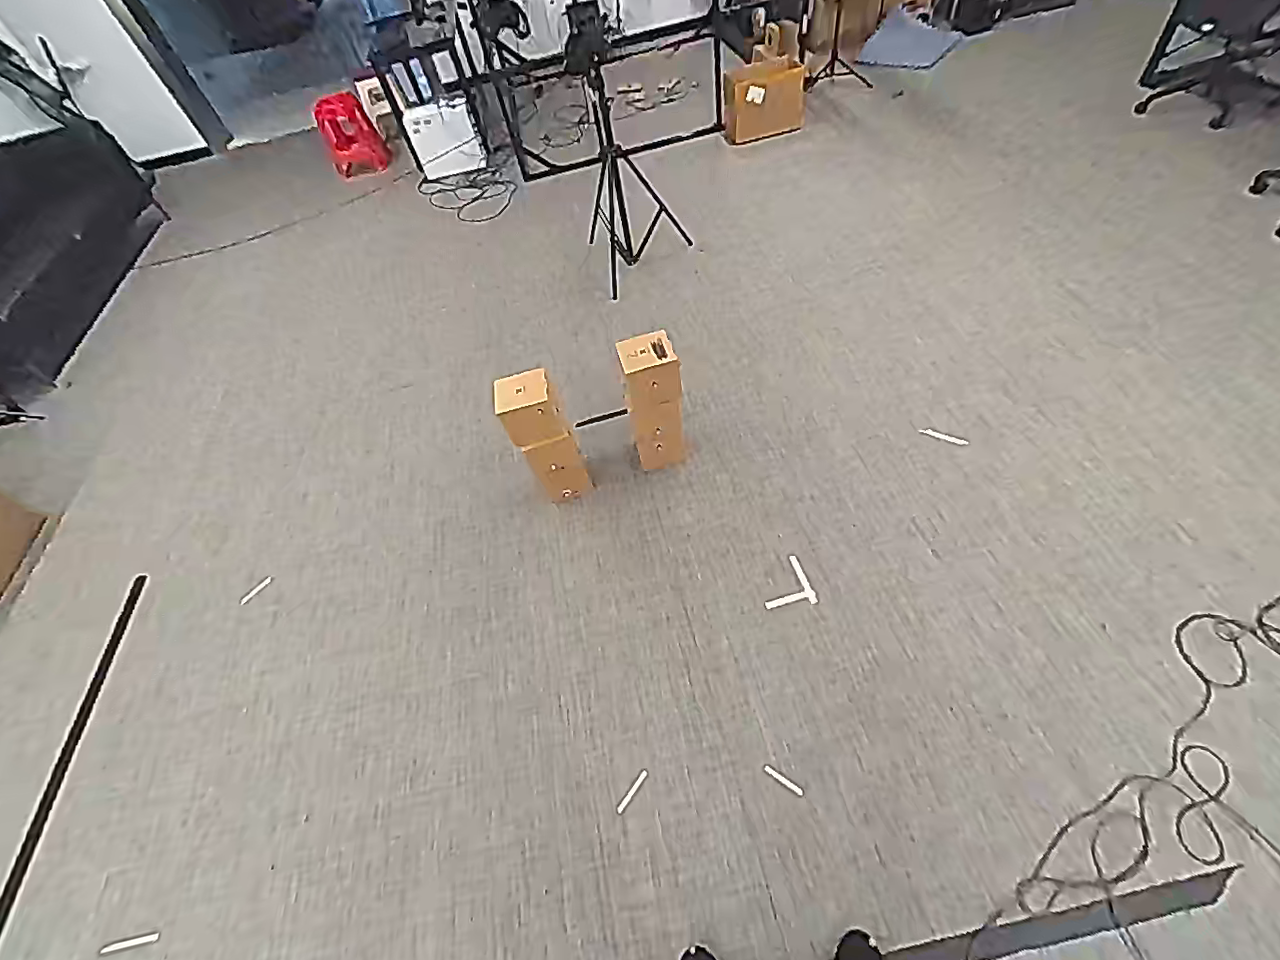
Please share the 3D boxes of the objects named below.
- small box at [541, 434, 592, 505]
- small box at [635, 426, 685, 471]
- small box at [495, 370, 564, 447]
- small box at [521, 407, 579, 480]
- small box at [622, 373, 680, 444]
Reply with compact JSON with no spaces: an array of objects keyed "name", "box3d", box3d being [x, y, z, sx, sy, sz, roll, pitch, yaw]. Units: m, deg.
[{"name":"small box","box3d":[-0.294,-0.038,2.052,0.168,0.176,0.179,-20,52,-4]},{"name":"small box","box3d":[0.068,-0.155,2.069,0.179,0.176,0.168,-14,52,0]},{"name":"small box","box3d":[-0.367,-0.231,1.799,0.179,0.176,0.168,-15,52,1]},{"name":"small box","box3d":[-0.326,-0.129,1.920,0.168,0.176,0.179,-19,53,-2]},{"name":"small box","box3d":[0.042,-0.254,1.940,0.179,0.176,0.168,-13,51,0]}]
